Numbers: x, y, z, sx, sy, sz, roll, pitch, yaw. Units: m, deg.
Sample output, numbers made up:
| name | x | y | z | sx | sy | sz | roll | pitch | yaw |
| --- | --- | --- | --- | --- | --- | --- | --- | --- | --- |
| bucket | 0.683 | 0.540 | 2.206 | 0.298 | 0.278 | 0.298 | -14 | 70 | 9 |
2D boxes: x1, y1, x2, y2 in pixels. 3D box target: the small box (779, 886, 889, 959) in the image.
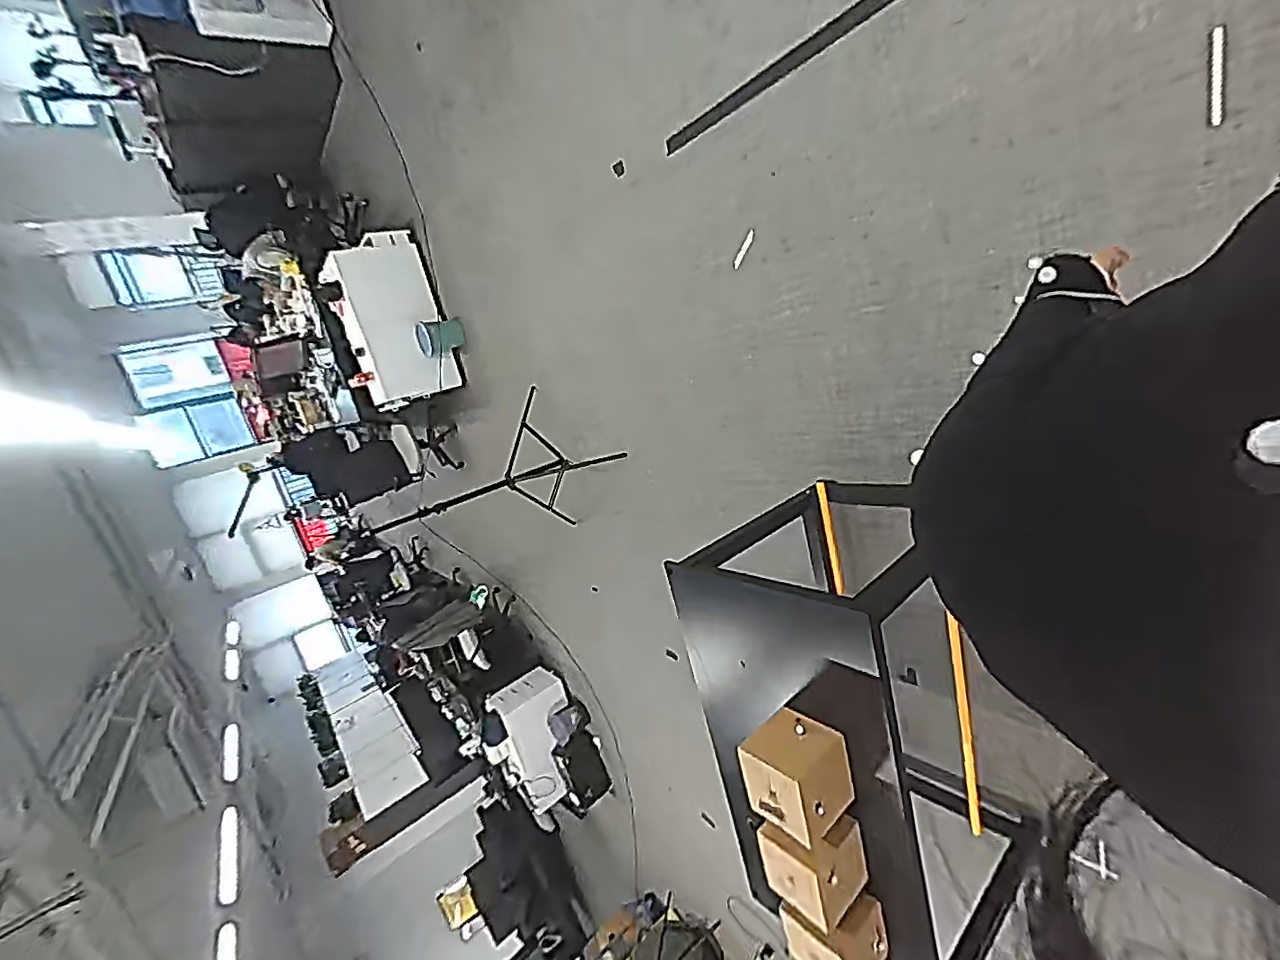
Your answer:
| name | x | y | z | sx | sy | sz | roll | pitch | yaw |
| --- | --- | --- | --- | --- | --- | --- | --- | --- | --- |
| small box | 0.470 | 1.079 | 1.308 | 0.179 | 0.176 | 0.168 | 3 | 114 | 53 |

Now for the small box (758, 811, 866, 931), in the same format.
| name | x | y | z | sx | sy | sz | roll | pitch | yaw |
| --- | --- | --- | --- | --- | --- | --- | --- | --- | --- |
| small box | 0.405 | 0.873 | 1.266 | 0.168 | 0.176 | 0.179 | 6 | 115 | 53 |

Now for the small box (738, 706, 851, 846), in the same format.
| name | x | y | z | sx | sy | sz | roll | pitch | yaw |
| --- | --- | --- | --- | --- | --- | --- | --- | --- | --- |
| small box | 0.347 | 0.647 | 1.204 | 0.168 | 0.176 | 0.179 | 5 | 114 | 53 |
